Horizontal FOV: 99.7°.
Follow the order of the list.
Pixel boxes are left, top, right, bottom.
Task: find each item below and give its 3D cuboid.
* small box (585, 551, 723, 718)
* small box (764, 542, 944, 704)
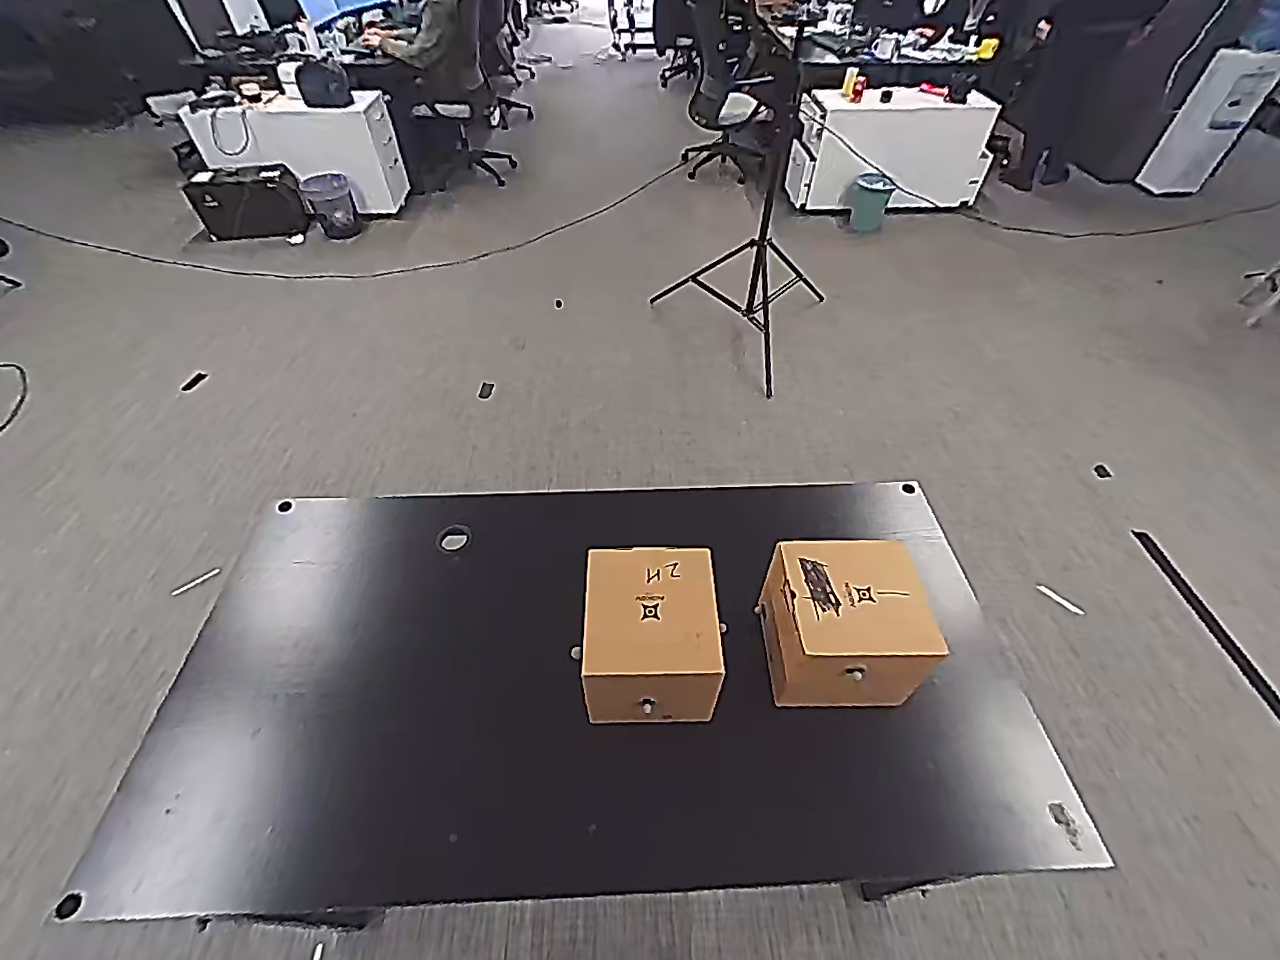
[{"bbox_3d":[0.017,0.216,0.743,0.168,0.176,0.179,0,48,-1],"label":"small box"},{"bbox_3d":[0.278,0.202,0.755,0.179,0.176,0.168,0,48,-1],"label":"small box"}]
